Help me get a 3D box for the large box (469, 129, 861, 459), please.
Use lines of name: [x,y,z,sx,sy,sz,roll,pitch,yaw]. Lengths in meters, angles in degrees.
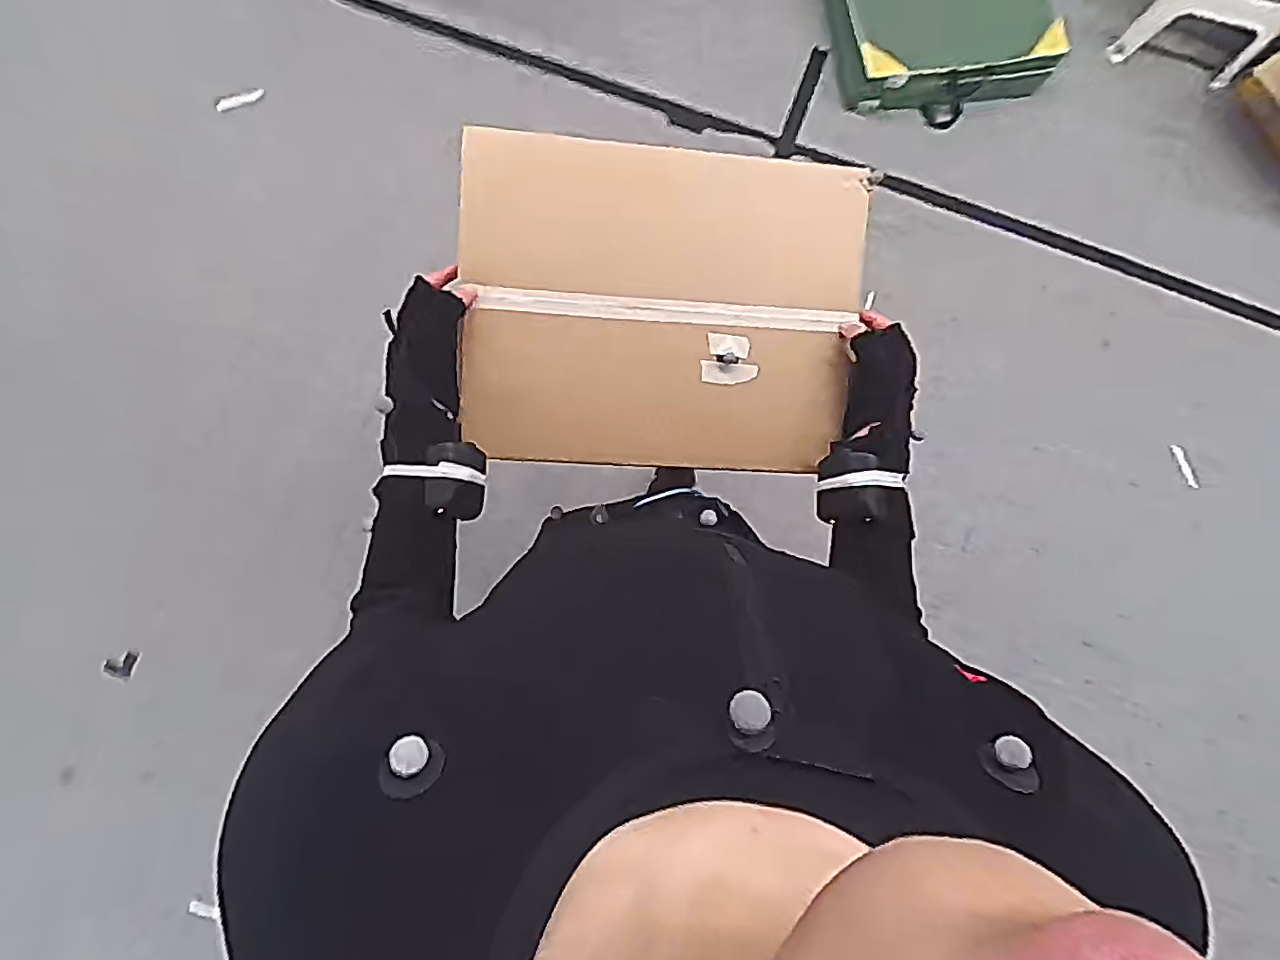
large box: [0.012,-0.196,0.706,0.408,0.320,0.320,3,96,-6]
